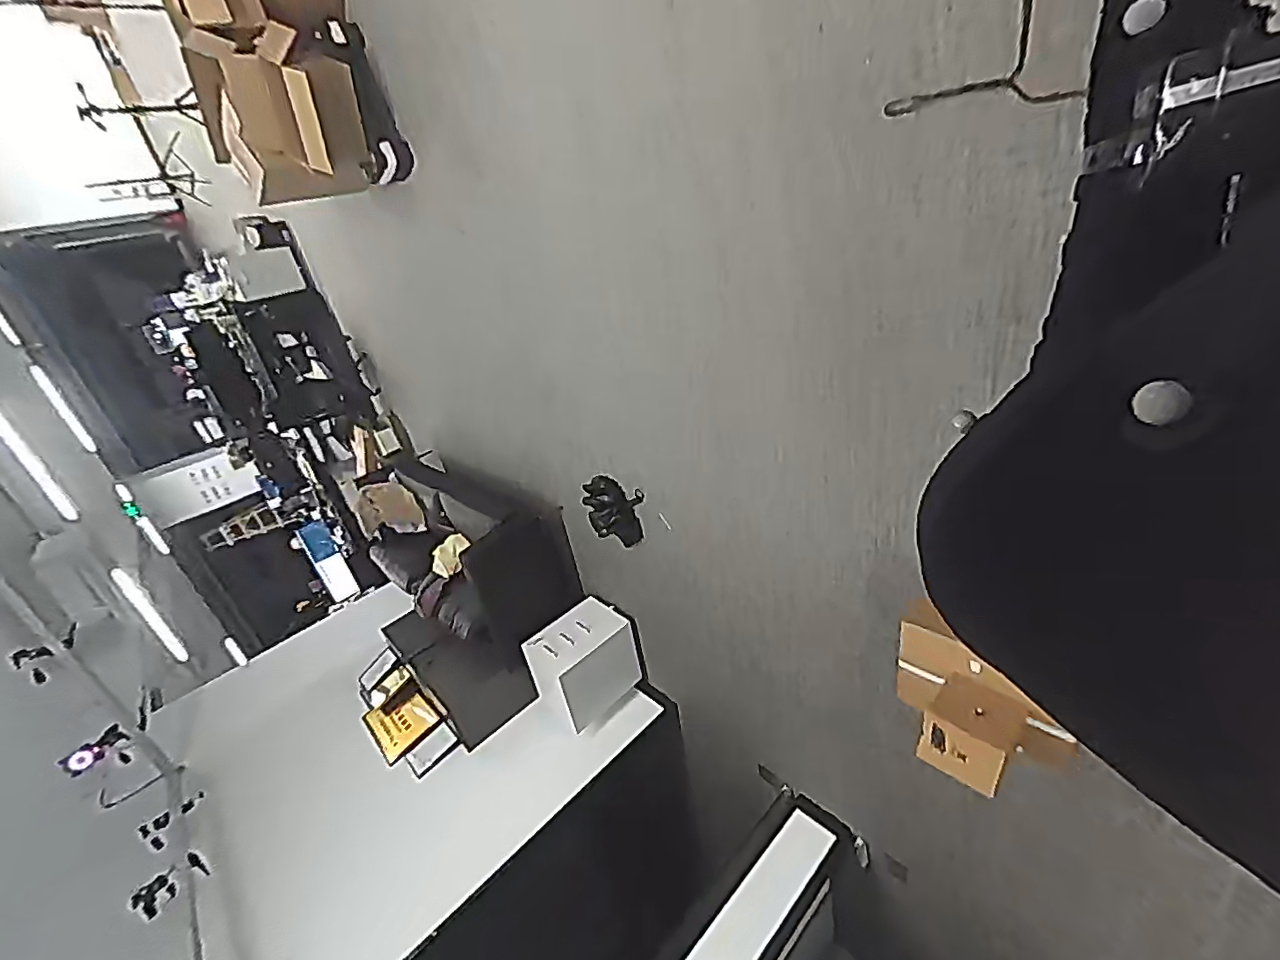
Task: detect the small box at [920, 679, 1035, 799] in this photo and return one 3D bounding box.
[{"bbox_3d":[0.823,0.620,1.325,0.179,0.176,0.168,24,130,41],"label":"small box"}]
